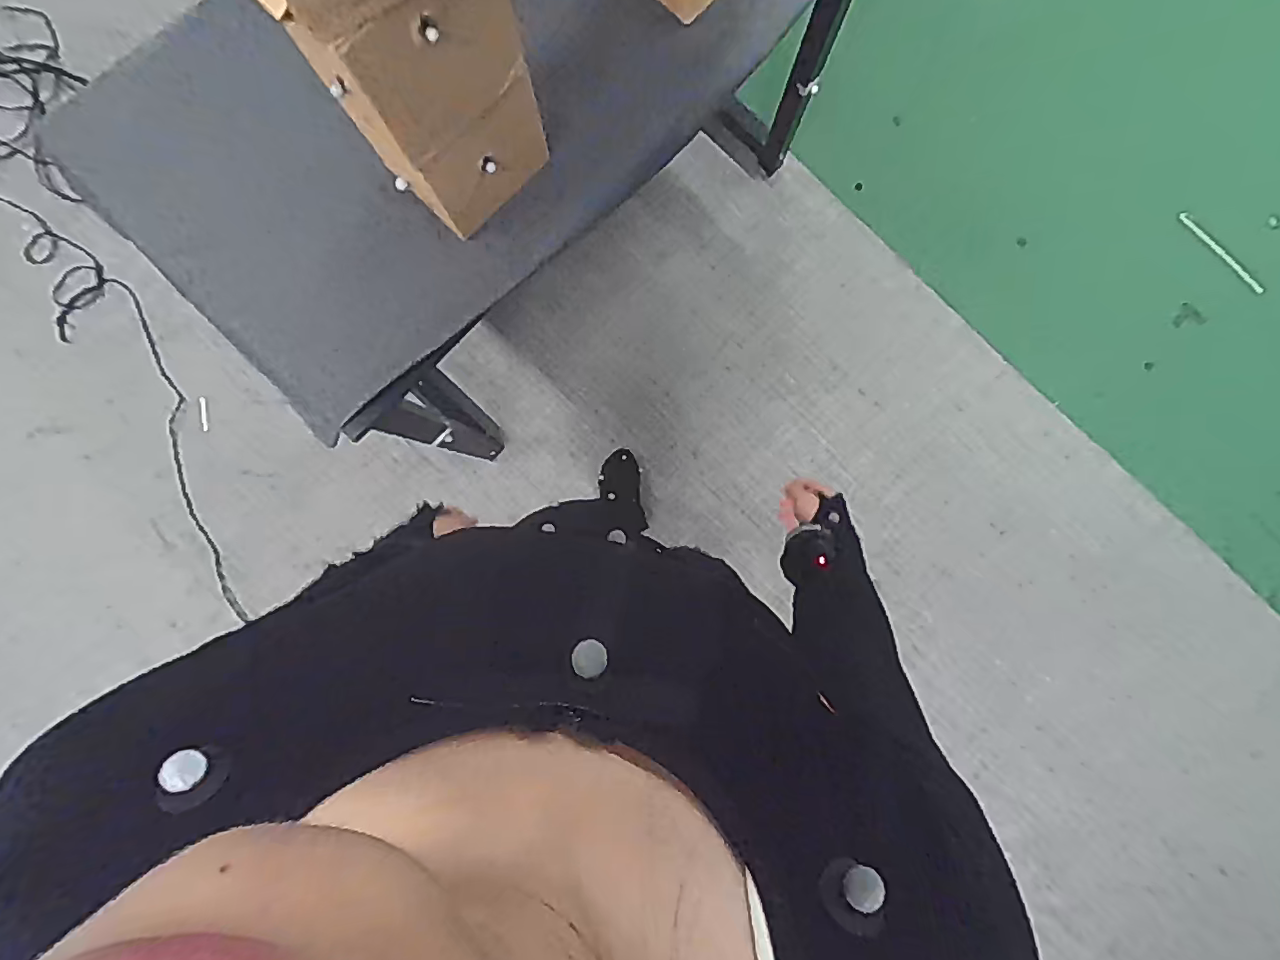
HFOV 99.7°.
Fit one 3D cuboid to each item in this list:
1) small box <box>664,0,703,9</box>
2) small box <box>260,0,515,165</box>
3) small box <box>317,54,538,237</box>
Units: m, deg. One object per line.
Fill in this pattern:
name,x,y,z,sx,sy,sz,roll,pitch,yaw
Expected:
small box,0.063,-0.775,0.699,0.179,0.176,0.168,44,88,2
small box,-0.246,-0.457,0.522,0.179,0.176,0.168,-44,89,-3
small box,-0.247,-0.455,0.684,0.168,0.176,0.179,45,89,2
